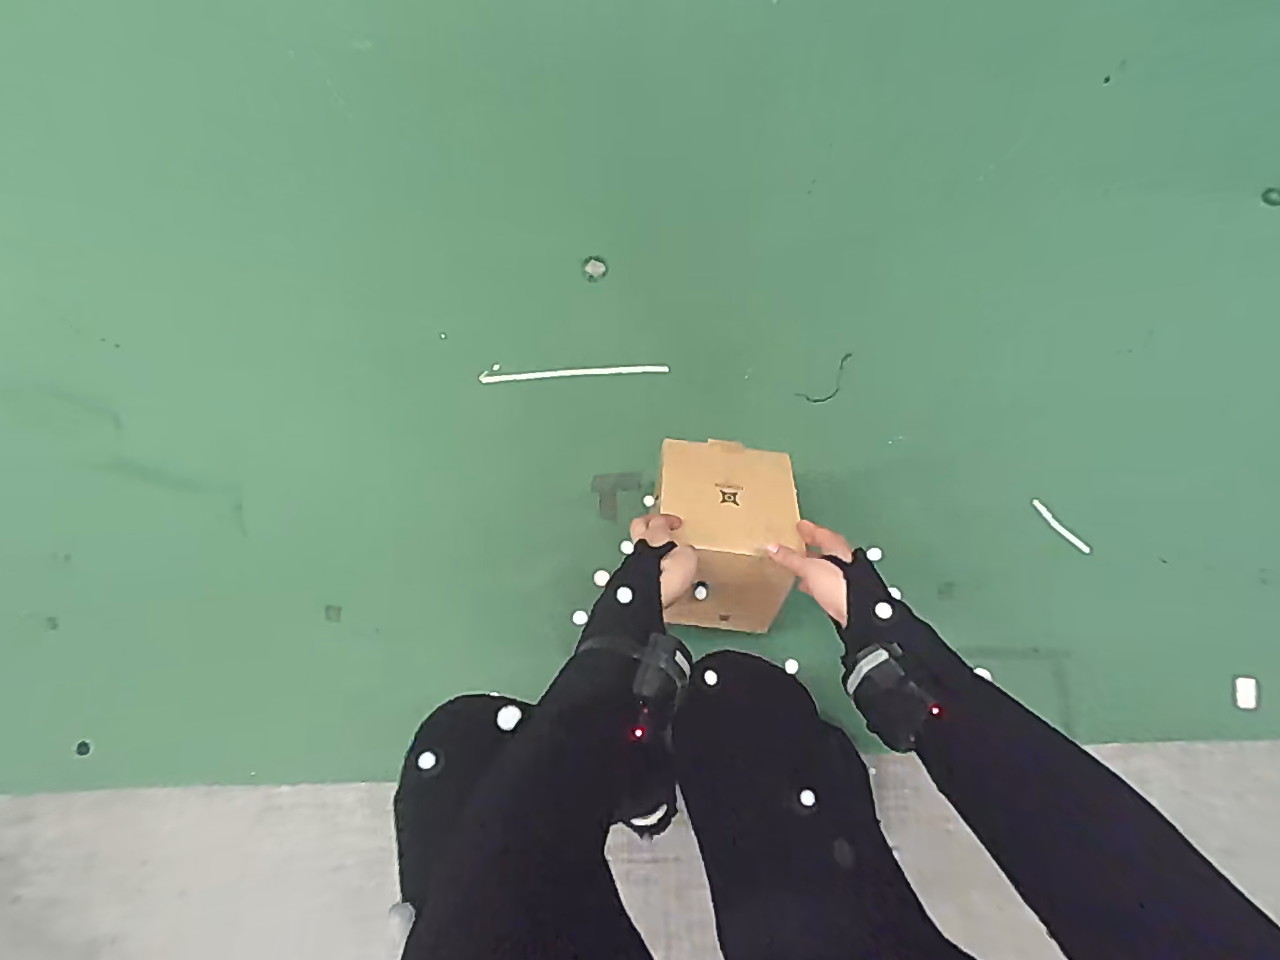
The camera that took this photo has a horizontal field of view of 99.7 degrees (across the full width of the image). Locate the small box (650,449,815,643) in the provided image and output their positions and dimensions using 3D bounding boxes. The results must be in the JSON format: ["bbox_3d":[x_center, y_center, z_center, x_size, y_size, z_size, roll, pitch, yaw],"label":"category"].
[{"bbox_3d":[0.105,0.086,0.688,0.168,0.179,0.176,7,132,-2],"label":"small box"}]
